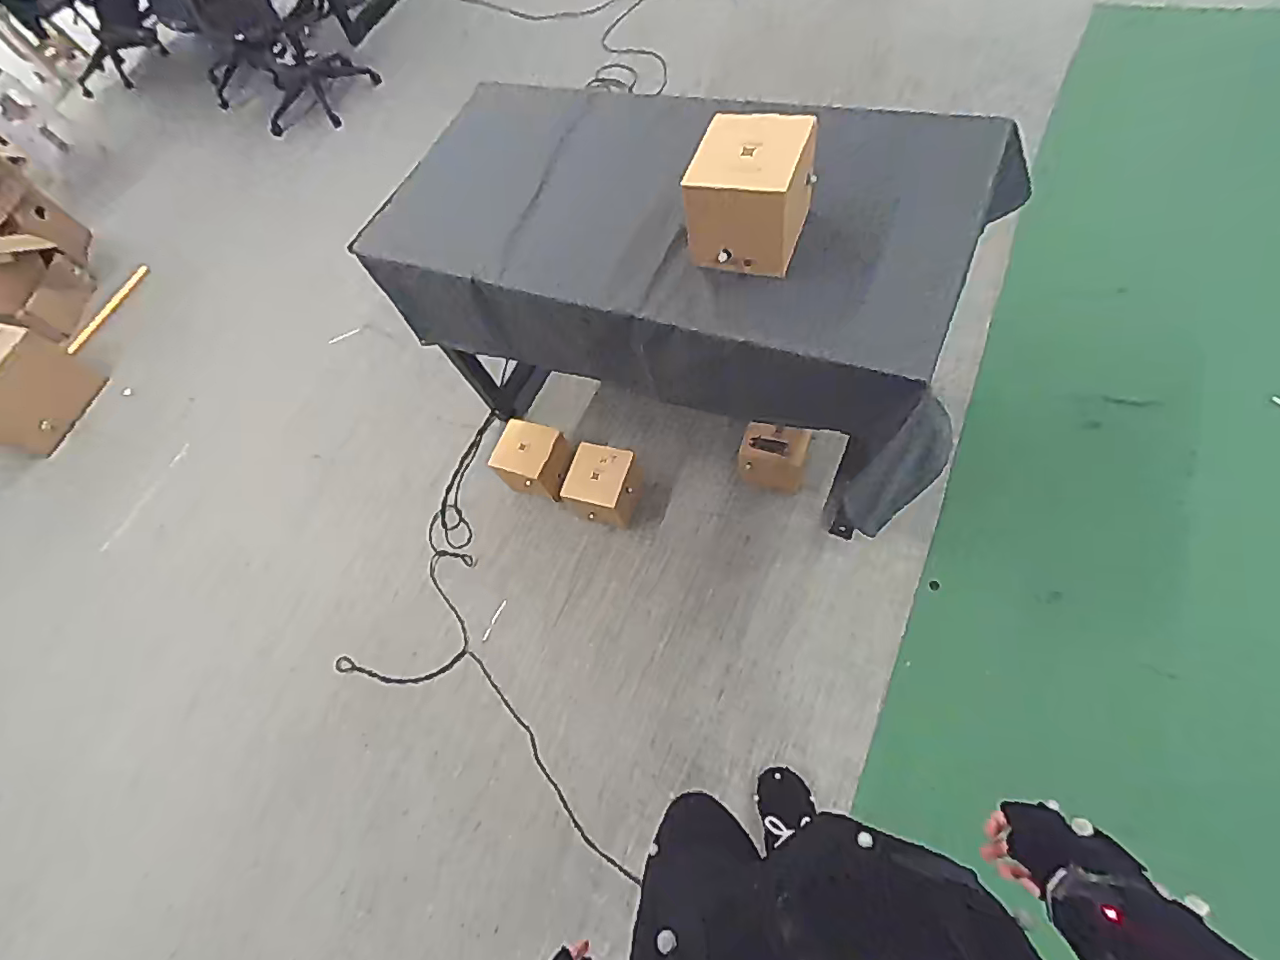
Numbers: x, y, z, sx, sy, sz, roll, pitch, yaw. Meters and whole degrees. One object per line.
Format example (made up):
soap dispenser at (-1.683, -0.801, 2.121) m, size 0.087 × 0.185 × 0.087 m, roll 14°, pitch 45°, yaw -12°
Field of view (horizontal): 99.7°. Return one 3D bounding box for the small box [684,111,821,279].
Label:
small box at (0.186, -0.466, 0.891) m, size 0.168 × 0.176 × 0.179 m, roll 16°, pitch 69°, yaw 20°
